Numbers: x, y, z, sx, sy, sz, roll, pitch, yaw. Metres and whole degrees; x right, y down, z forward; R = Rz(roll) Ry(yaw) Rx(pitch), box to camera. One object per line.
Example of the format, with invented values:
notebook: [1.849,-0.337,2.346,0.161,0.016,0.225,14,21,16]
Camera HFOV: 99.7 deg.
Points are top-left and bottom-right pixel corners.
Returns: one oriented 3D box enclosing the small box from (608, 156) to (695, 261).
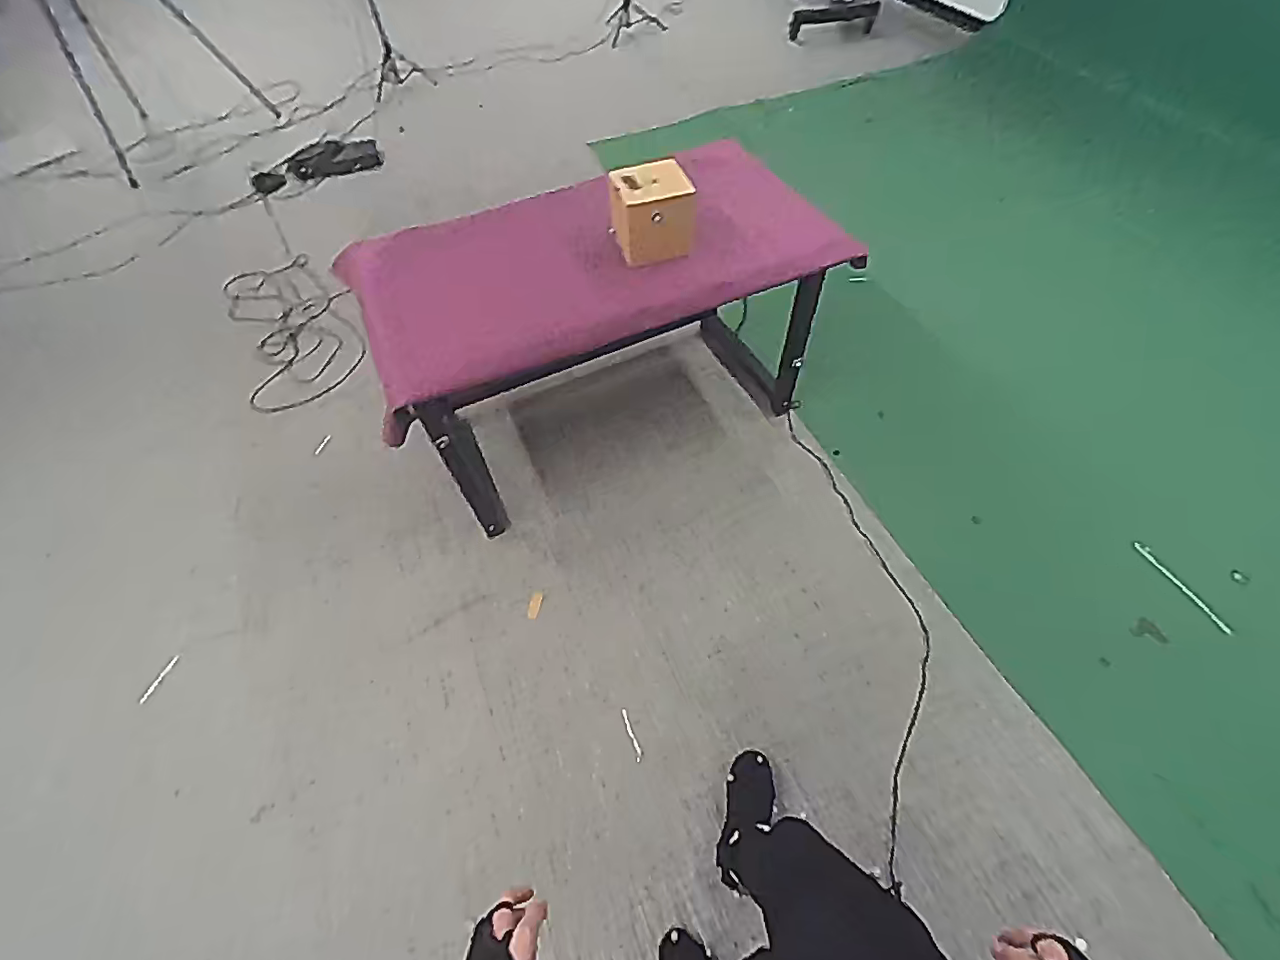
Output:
small box: [0.029,-0.683,1.370,0.179,0.176,0.168,-15,58,-8]
